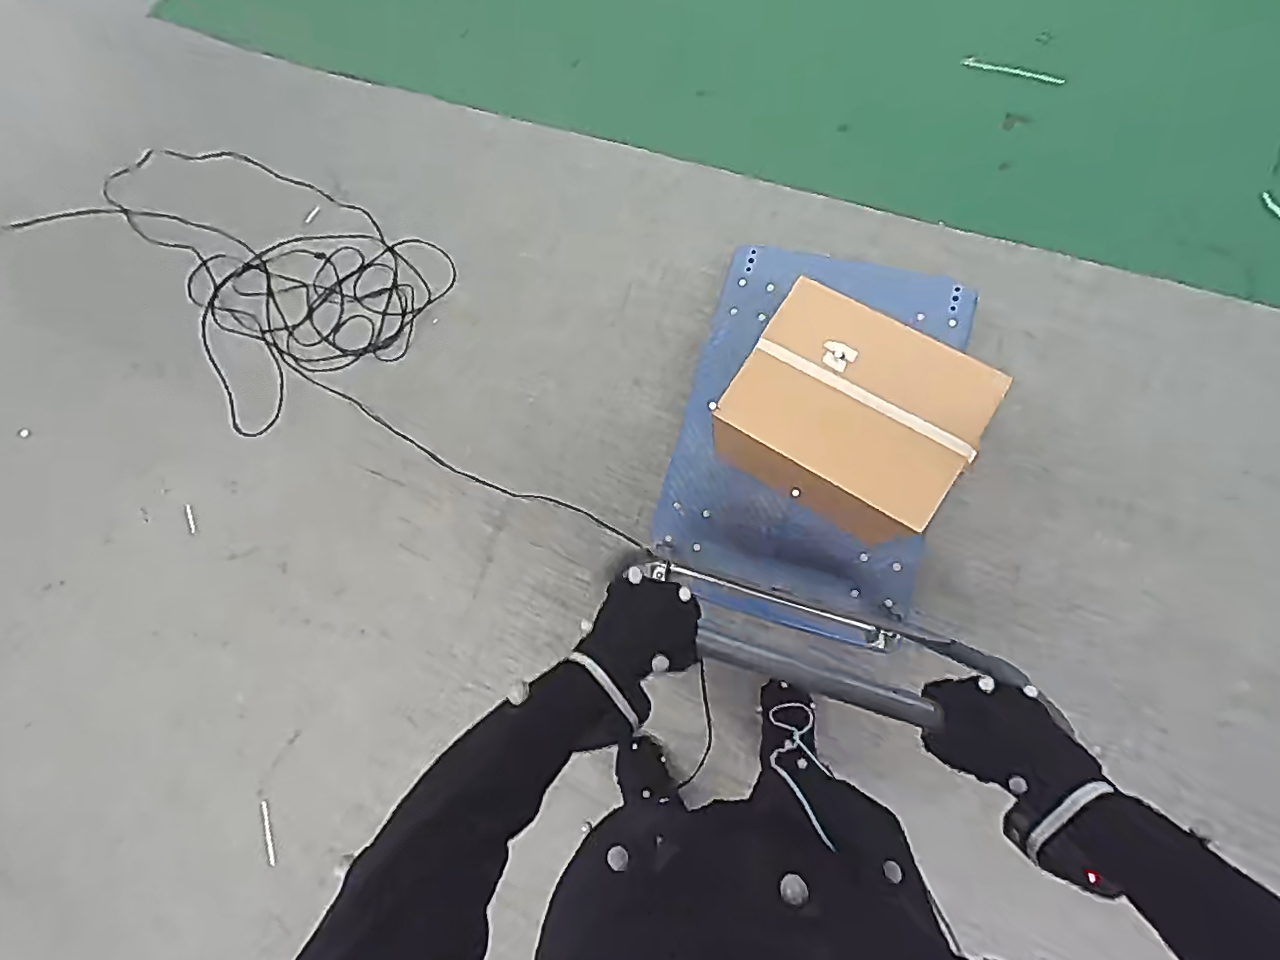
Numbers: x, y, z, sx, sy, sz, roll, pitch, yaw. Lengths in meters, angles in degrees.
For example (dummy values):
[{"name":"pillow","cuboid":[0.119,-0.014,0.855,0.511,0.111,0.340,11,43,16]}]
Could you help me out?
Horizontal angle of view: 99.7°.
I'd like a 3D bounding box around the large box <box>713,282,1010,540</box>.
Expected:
[{"name":"large box","cuboid":[0.401,-0.114,1.078,0.408,0.320,0.320,31,86,14]}]
